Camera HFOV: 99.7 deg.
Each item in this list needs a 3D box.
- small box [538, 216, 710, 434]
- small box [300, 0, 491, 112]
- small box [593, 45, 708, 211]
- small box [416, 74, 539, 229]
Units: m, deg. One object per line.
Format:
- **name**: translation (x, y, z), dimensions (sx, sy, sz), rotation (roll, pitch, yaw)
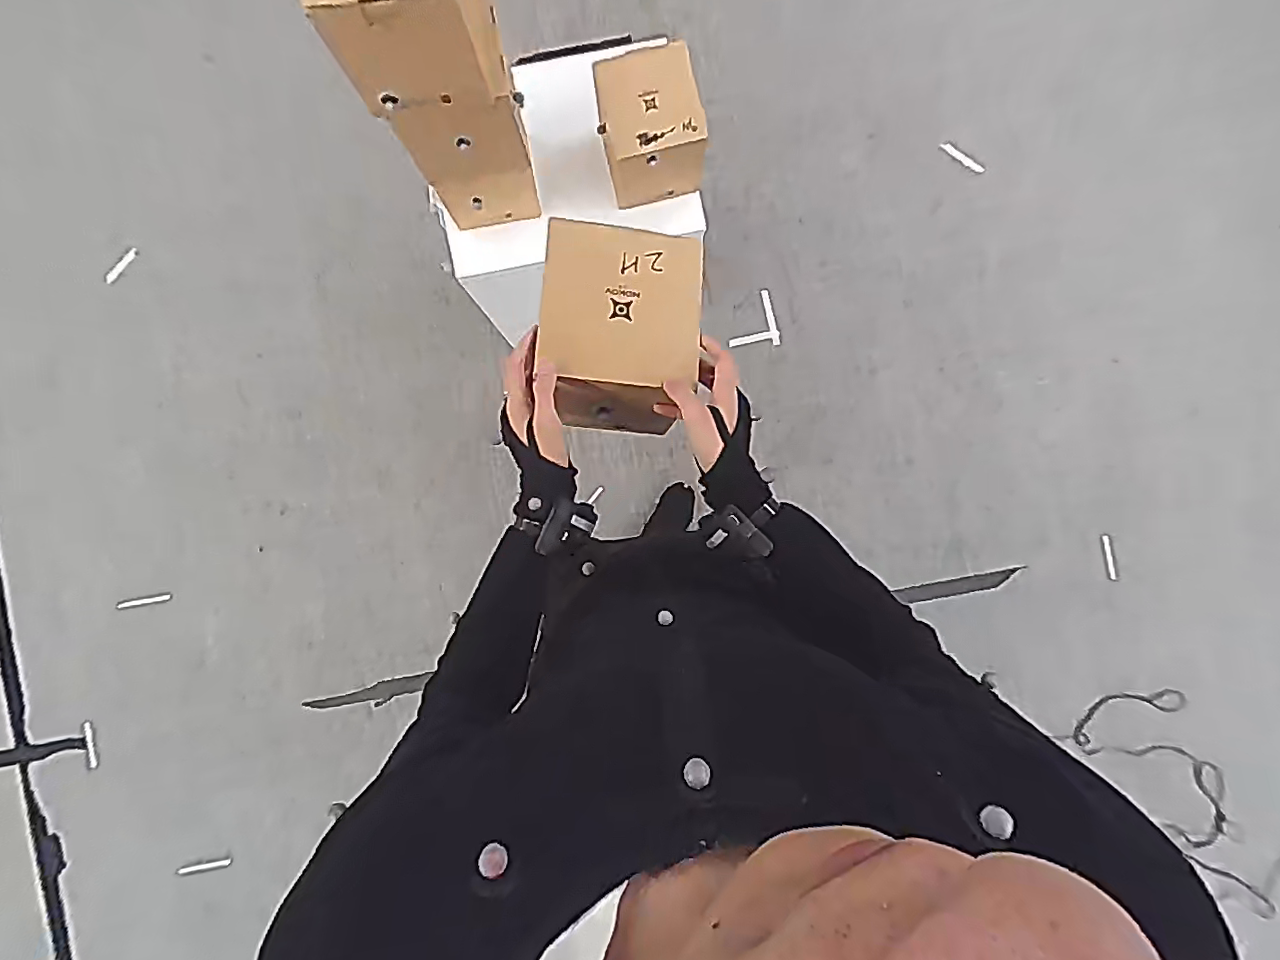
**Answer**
- **small box**: translation (-0.024, -0.163, 0.625), dimensions (0.168, 0.176, 0.179), rotation (6, 77, -9)
- **small box**: translation (-0.290, -0.584, 0.657), dimensions (0.168, 0.176, 0.179), rotation (-8, 88, -1)
- **small box**: translation (0.017, -0.632, 0.990), dimensions (0.168, 0.176, 0.179), rotation (-14, 88, 0)
- **small box**: translation (-0.288, -0.583, 0.987), dimensions (0.168, 0.176, 0.179), rotation (-11, 88, -2)
